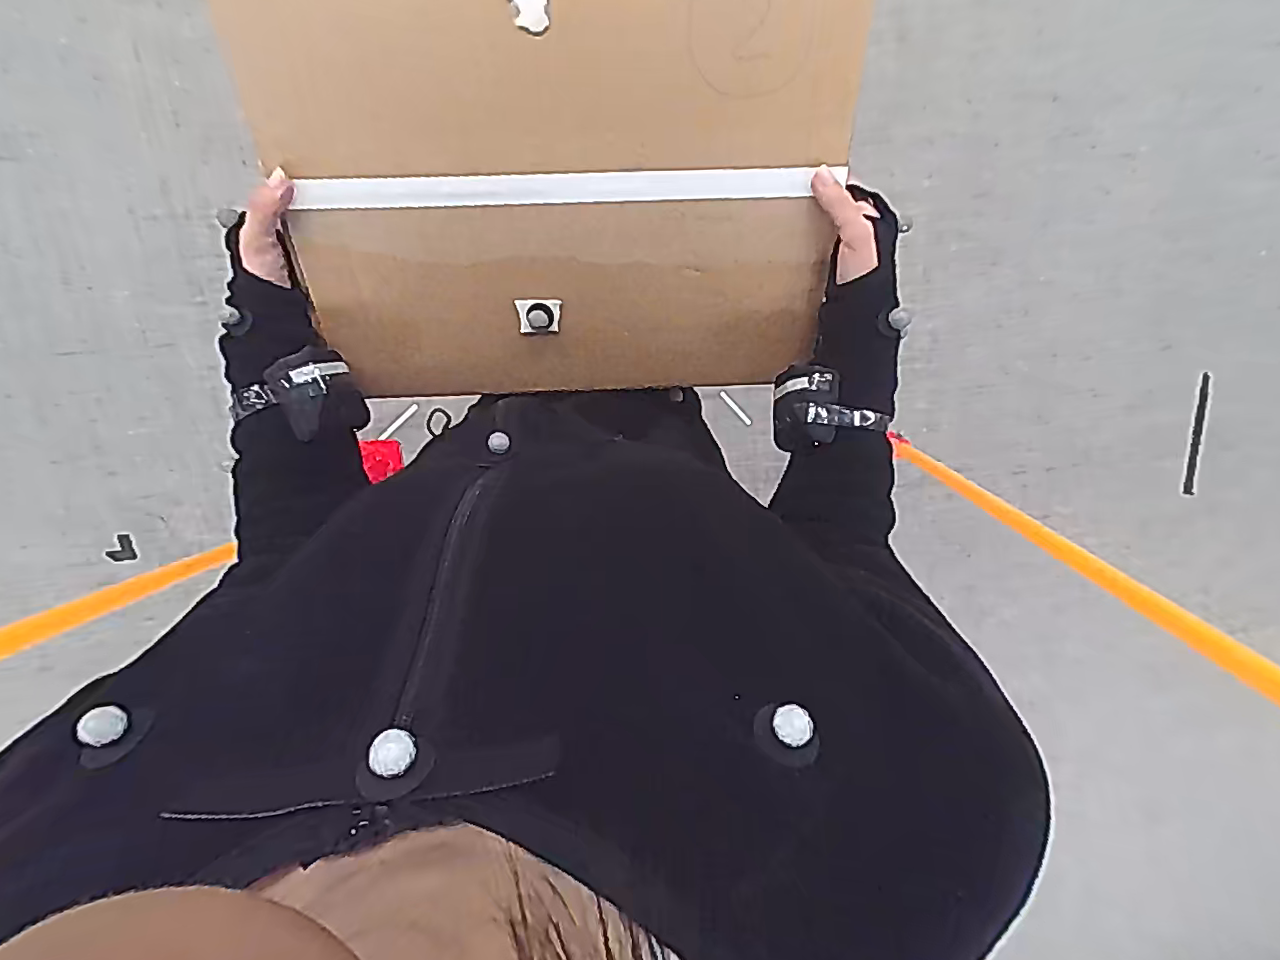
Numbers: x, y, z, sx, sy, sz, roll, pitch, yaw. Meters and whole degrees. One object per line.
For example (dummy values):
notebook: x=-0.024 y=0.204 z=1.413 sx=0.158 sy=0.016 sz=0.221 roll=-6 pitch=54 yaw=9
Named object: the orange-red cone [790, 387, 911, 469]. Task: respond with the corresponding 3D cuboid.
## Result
orange-red cone: x=0.525 y=-0.094 z=1.287 sx=0.199 sy=0.360 sz=0.198 roll=-14 pitch=106 yaw=-4
